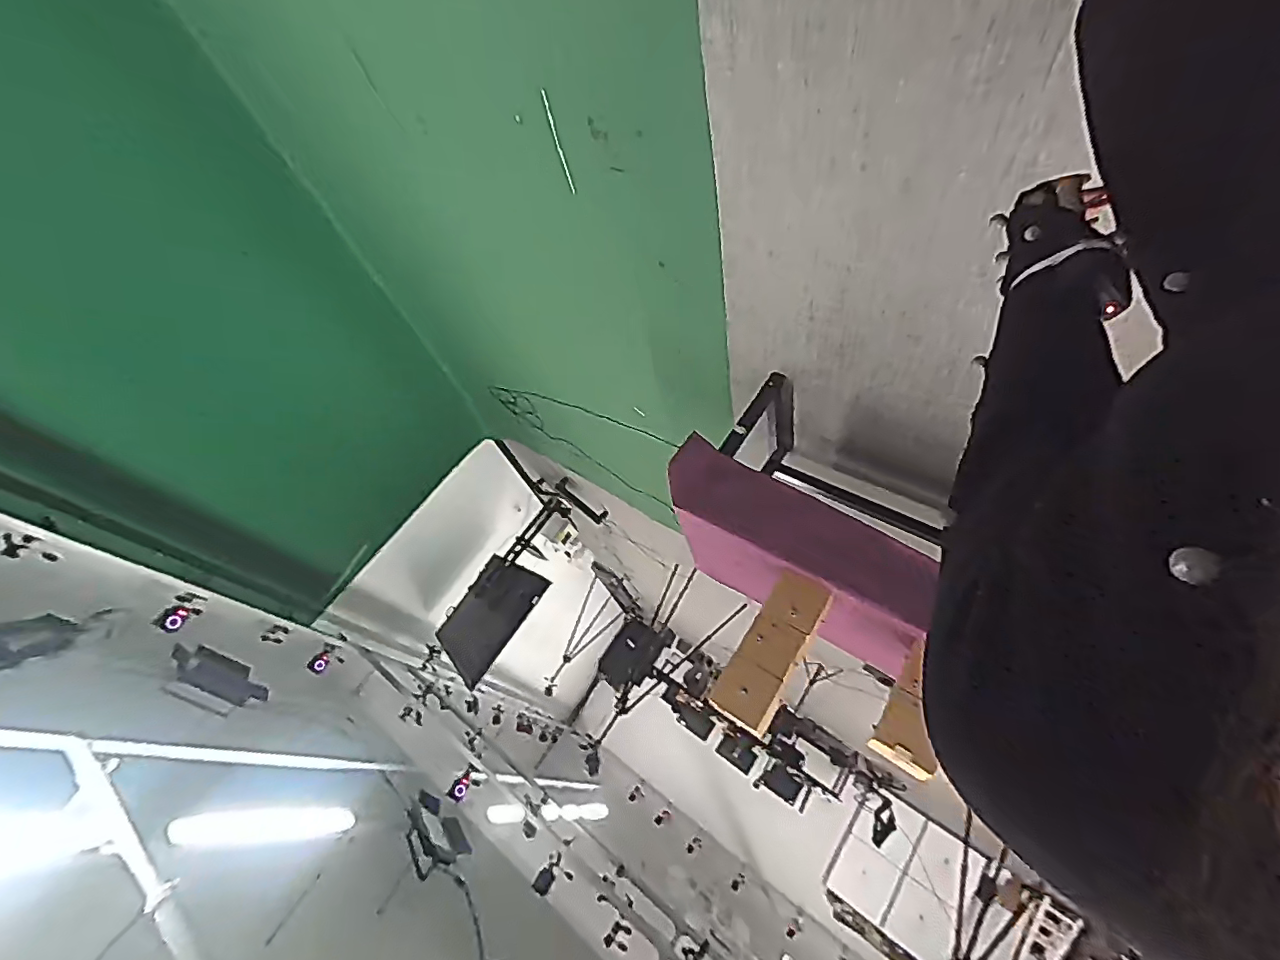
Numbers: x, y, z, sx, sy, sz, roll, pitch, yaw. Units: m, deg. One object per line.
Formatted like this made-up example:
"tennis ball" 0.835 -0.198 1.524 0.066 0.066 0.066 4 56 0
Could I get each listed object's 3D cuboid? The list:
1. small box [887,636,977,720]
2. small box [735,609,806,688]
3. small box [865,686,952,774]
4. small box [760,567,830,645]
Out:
"small box" 0.872 0.597 1.617 0.179 0.176 0.168 28 160 28
"small box" 0.429 0.547 1.771 0.168 0.176 0.179 27 160 28
"small box" 0.778 0.722 1.569 0.168 0.176 0.179 27 161 28
"small box" 0.520 0.420 1.816 0.179 0.176 0.168 27 159 26
